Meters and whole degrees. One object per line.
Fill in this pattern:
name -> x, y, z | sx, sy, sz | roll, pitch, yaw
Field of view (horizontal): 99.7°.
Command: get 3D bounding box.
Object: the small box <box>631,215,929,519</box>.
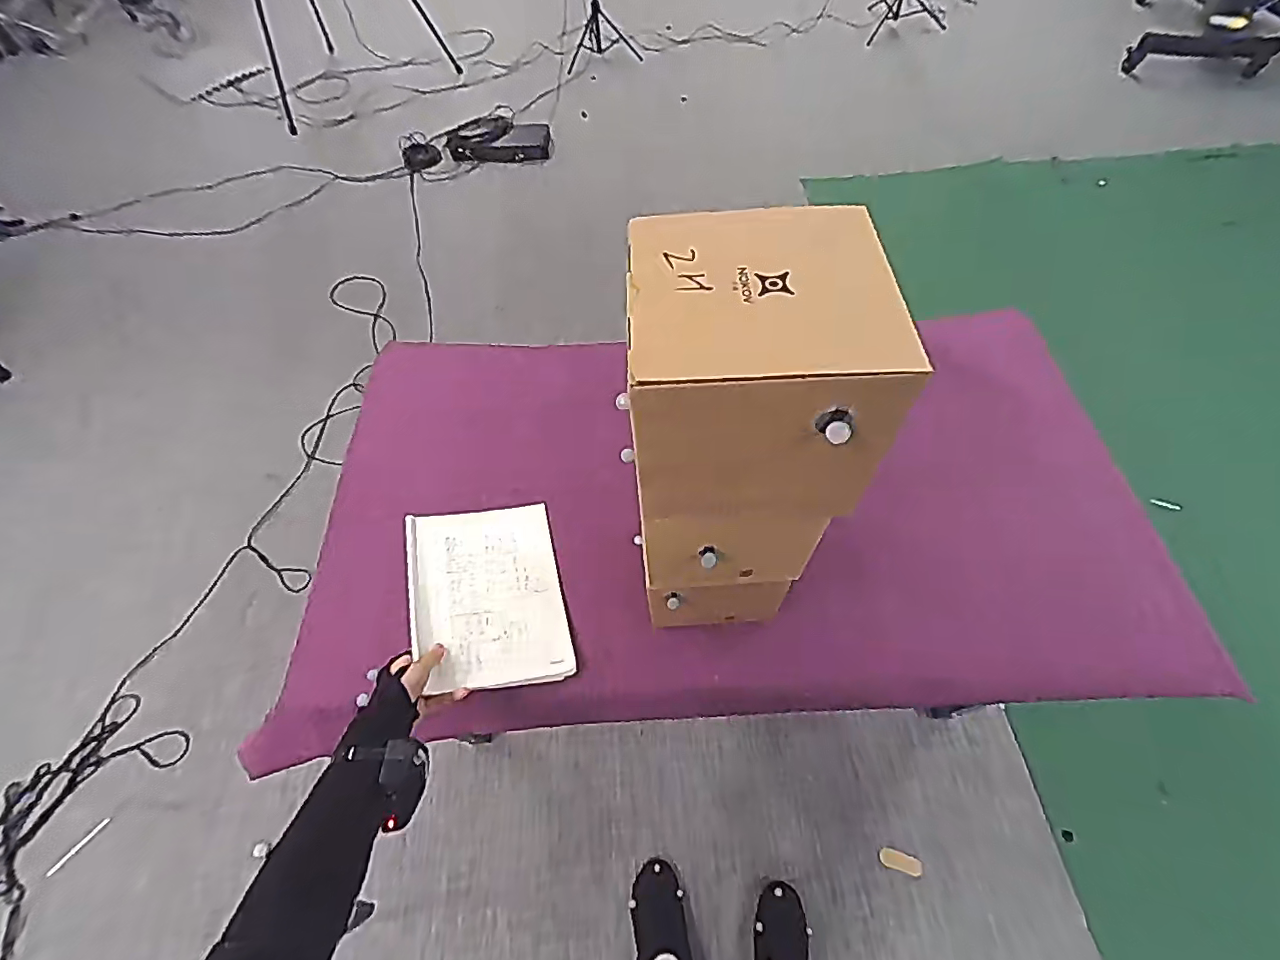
small box -> 0.085, -0.079, 0.423 | 0.179, 0.176, 0.168 | -2, 57, 3

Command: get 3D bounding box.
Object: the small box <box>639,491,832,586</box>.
small box -> 0.084, 0.004, 0.566 | 0.168, 0.176, 0.179 | -3, 57, 1
